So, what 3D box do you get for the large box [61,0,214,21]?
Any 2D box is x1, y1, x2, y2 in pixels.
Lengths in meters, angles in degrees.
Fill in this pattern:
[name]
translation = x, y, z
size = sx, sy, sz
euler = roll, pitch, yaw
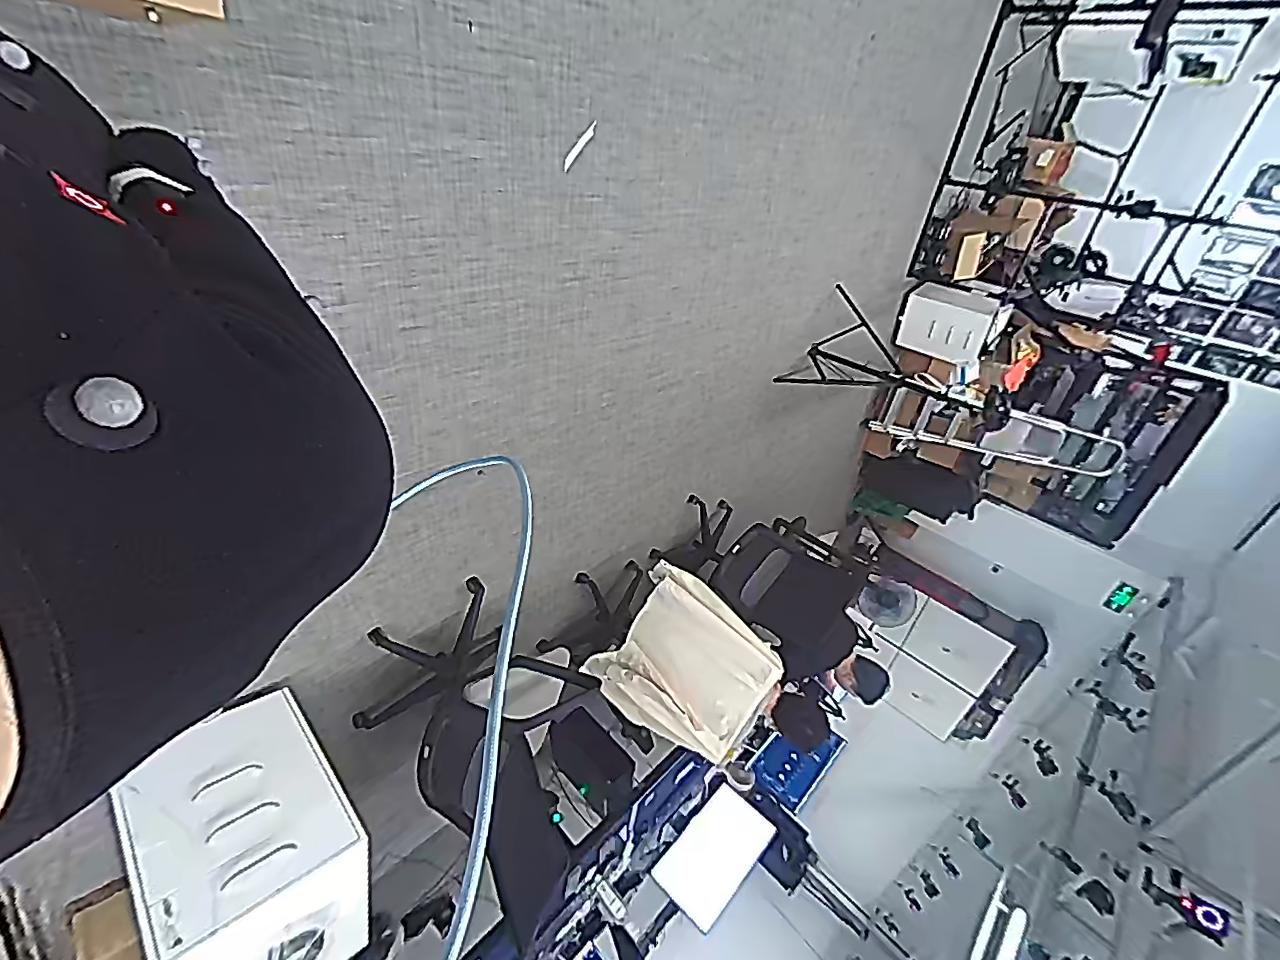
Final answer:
[large box]
translation = -0.799, -0.764, 0.609
size = 0.408, 0.320, 0.320
euler = -22, 132, -43
